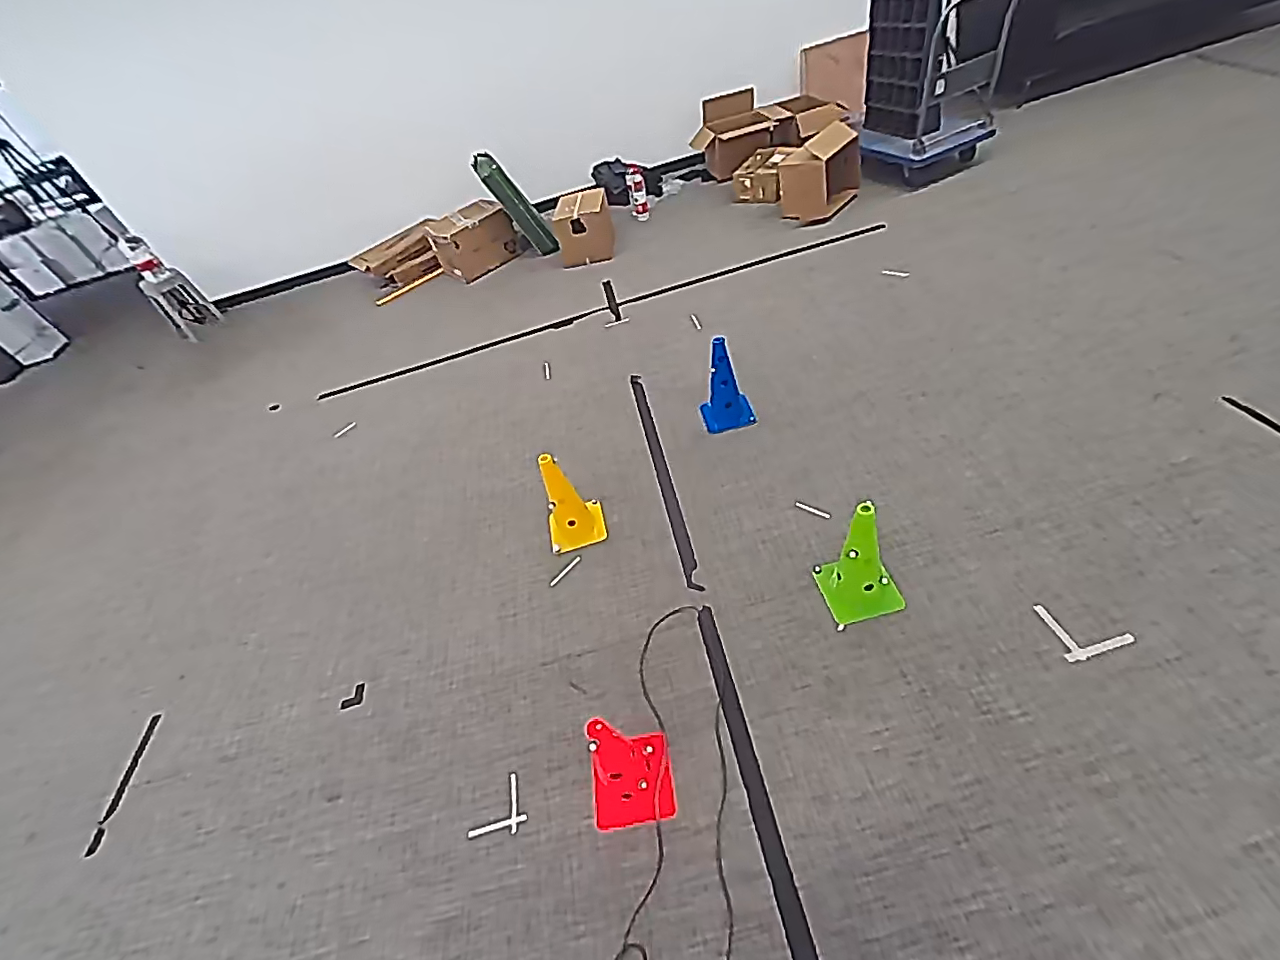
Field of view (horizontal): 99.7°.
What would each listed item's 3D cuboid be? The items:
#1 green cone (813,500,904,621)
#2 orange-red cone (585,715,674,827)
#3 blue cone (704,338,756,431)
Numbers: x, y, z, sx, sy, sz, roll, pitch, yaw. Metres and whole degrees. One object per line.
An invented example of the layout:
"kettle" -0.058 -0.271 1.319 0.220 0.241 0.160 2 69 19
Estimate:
"green cone" 0.595 0.191 1.449 0.202 0.368 0.200 -15 44 1
"orange-red cone" -0.058 0.626 1.231 0.199 0.360 0.198 -14 43 6
"blue cone" 0.333 -0.385 2.116 0.192 0.380 0.193 -13 45 4
